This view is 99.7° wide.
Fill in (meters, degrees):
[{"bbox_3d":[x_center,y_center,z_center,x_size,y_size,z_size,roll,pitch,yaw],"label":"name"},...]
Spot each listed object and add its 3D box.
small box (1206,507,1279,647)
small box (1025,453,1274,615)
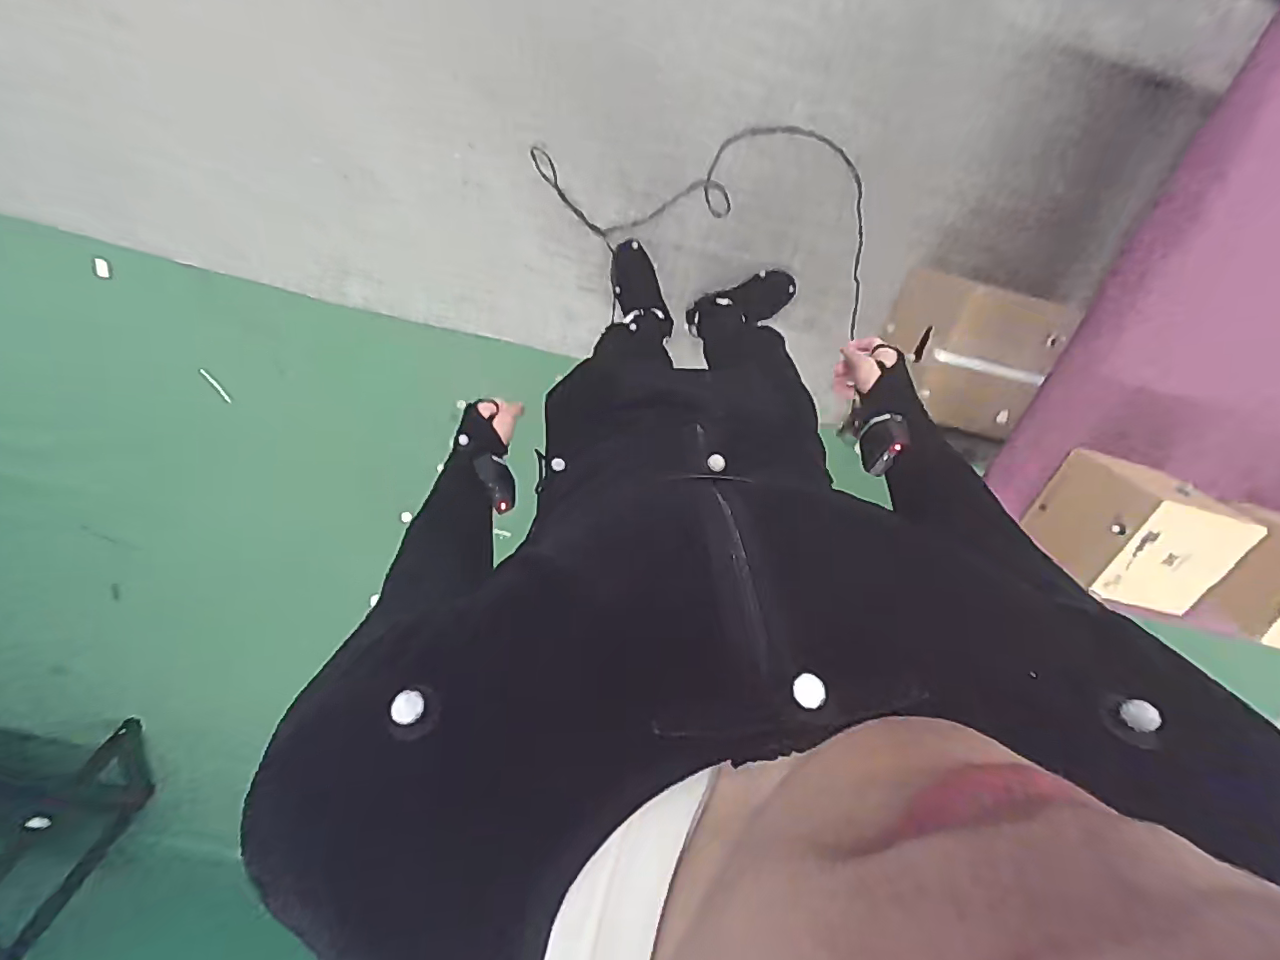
[{"bbox_3d":[1.052,0.163,0.861,0.179,0.176,0.168,15,115,-5],"label":"small box"},{"bbox_3d":[0.752,0.075,0.822,0.179,0.176,0.168,13,116,-9],"label":"small box"}]
